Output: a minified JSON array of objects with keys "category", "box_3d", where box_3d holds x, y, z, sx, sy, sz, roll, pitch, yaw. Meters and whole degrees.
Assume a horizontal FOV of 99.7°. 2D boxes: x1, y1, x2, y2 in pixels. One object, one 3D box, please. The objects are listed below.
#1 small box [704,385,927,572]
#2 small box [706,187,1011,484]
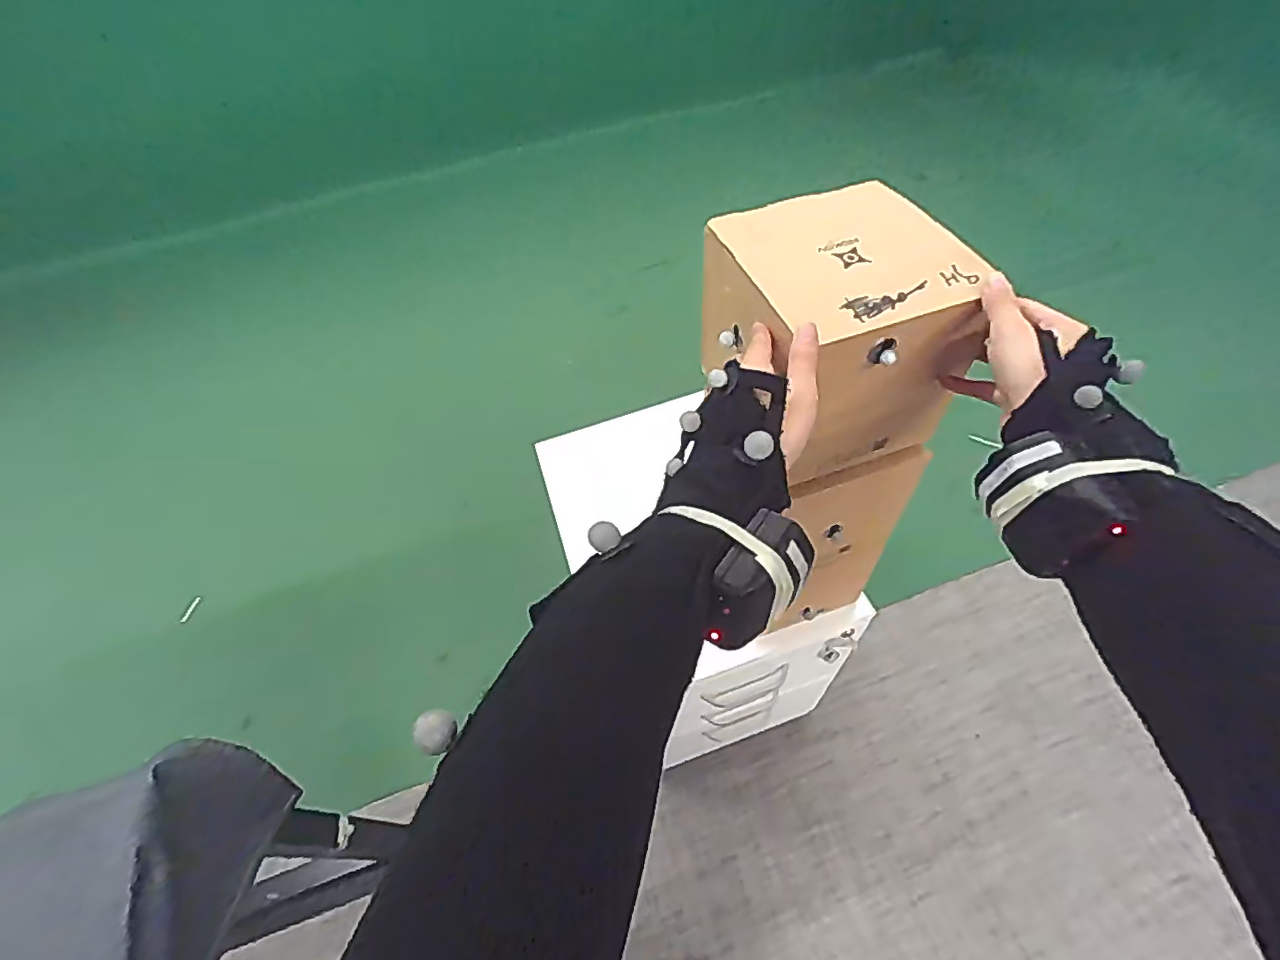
[{"category":"small box","box_3d":[0.181,-0.013,0.616,0.168,0.176,0.179,-17,54,-6]},{"category":"small box","box_3d":[0.164,-0.126,0.482,0.168,0.176,0.179,-17,54,-8]}]
